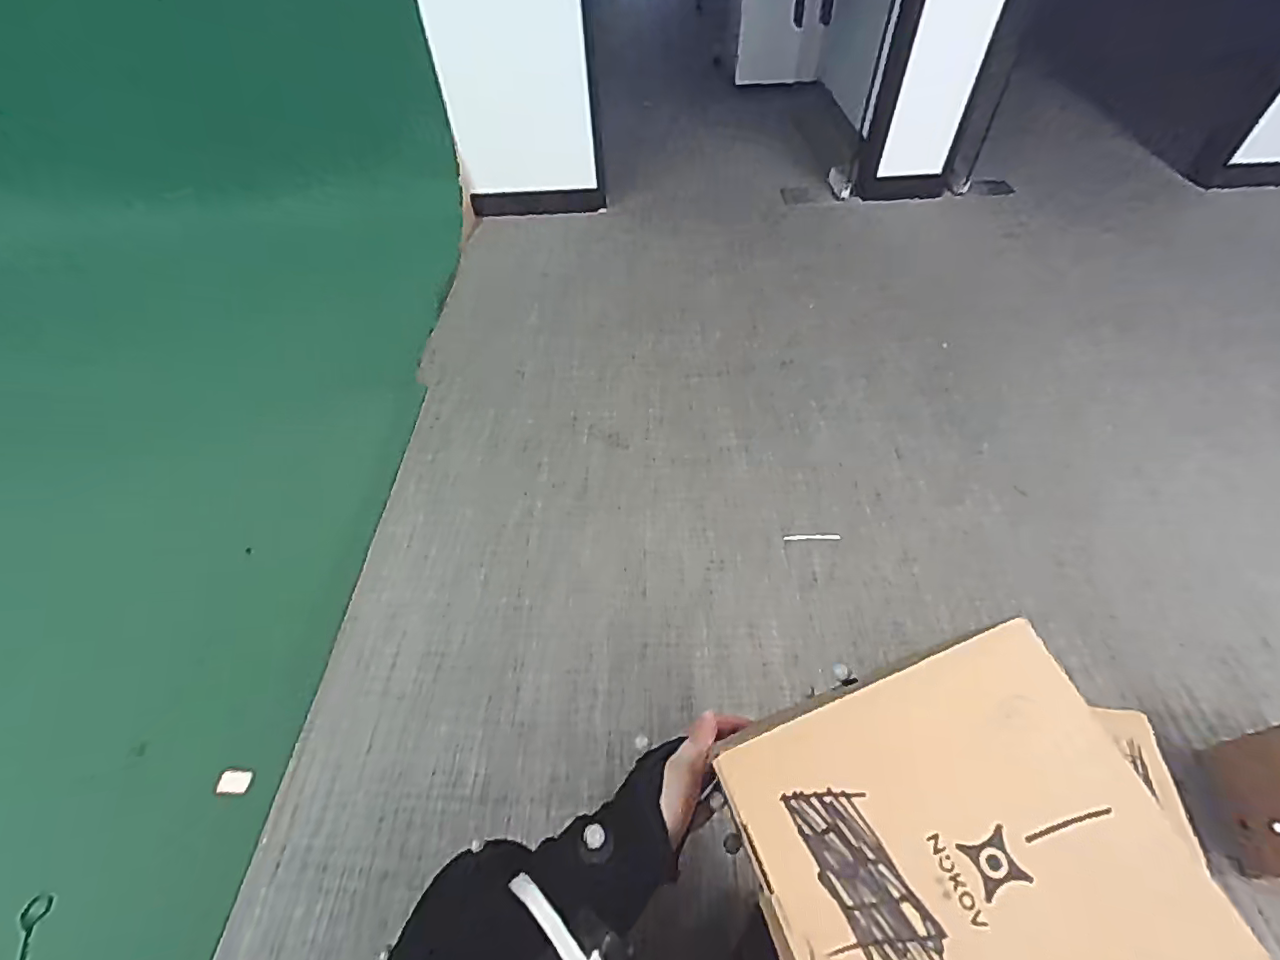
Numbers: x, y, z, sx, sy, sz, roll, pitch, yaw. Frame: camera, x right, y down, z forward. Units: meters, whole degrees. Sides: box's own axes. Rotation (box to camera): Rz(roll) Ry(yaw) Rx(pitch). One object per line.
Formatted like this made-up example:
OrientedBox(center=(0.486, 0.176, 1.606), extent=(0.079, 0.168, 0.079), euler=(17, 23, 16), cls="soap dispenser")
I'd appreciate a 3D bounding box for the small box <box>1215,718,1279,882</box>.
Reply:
OrientedBox(center=(0.889, 0.420, 0.675), extent=(0.179, 0.176, 0.168), euler=(12, 53, 11), cls="small box")
